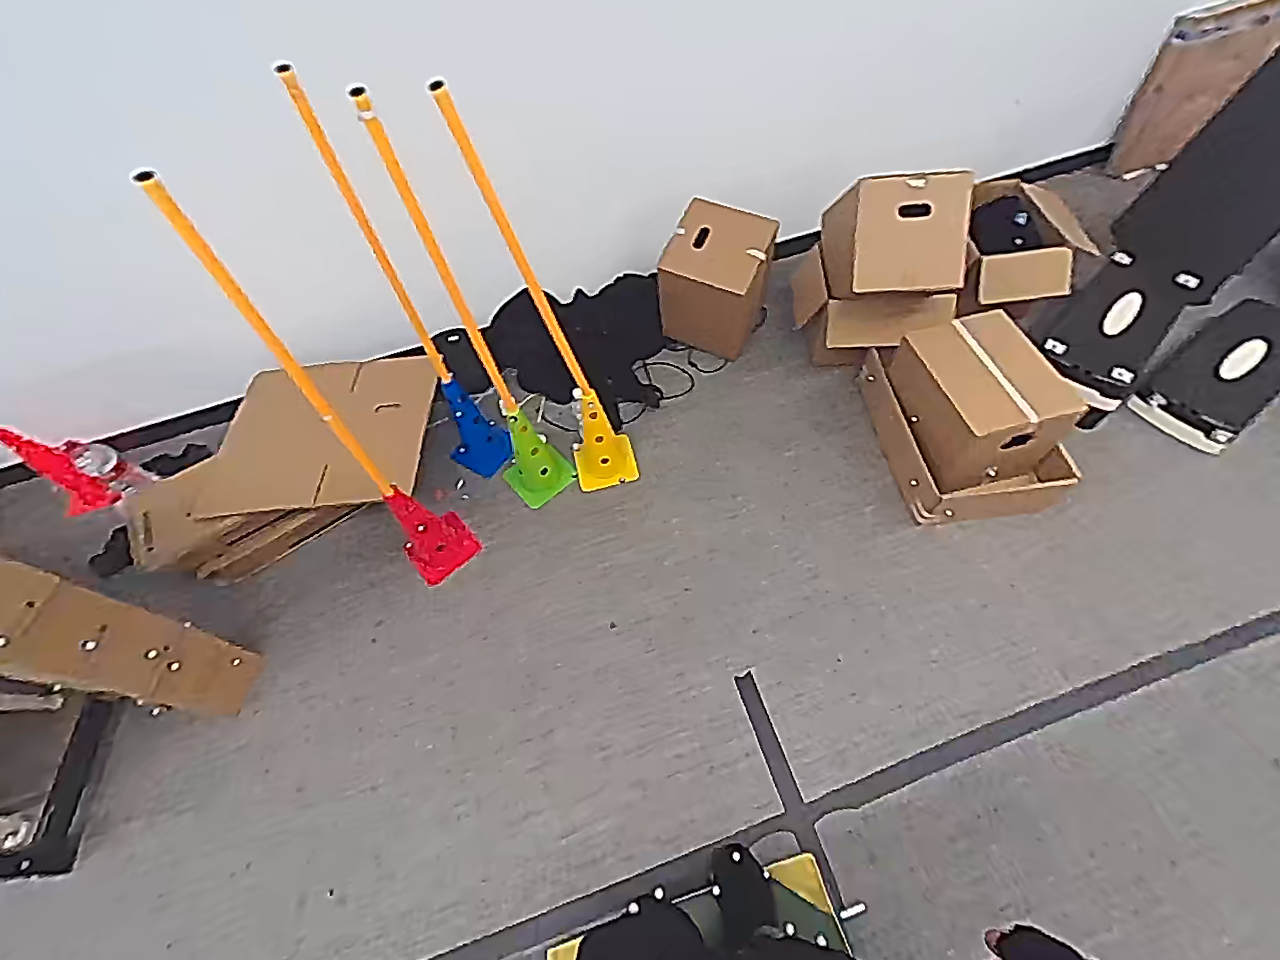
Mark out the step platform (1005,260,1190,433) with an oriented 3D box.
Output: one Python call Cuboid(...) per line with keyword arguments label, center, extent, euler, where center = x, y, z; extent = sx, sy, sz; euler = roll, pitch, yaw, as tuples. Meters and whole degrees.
Cuboid(label="step platform", center=(1.570, -0.474, 1.853), extent=(0.286, 0.204, 0.684), euler=(37, 69, 25))
